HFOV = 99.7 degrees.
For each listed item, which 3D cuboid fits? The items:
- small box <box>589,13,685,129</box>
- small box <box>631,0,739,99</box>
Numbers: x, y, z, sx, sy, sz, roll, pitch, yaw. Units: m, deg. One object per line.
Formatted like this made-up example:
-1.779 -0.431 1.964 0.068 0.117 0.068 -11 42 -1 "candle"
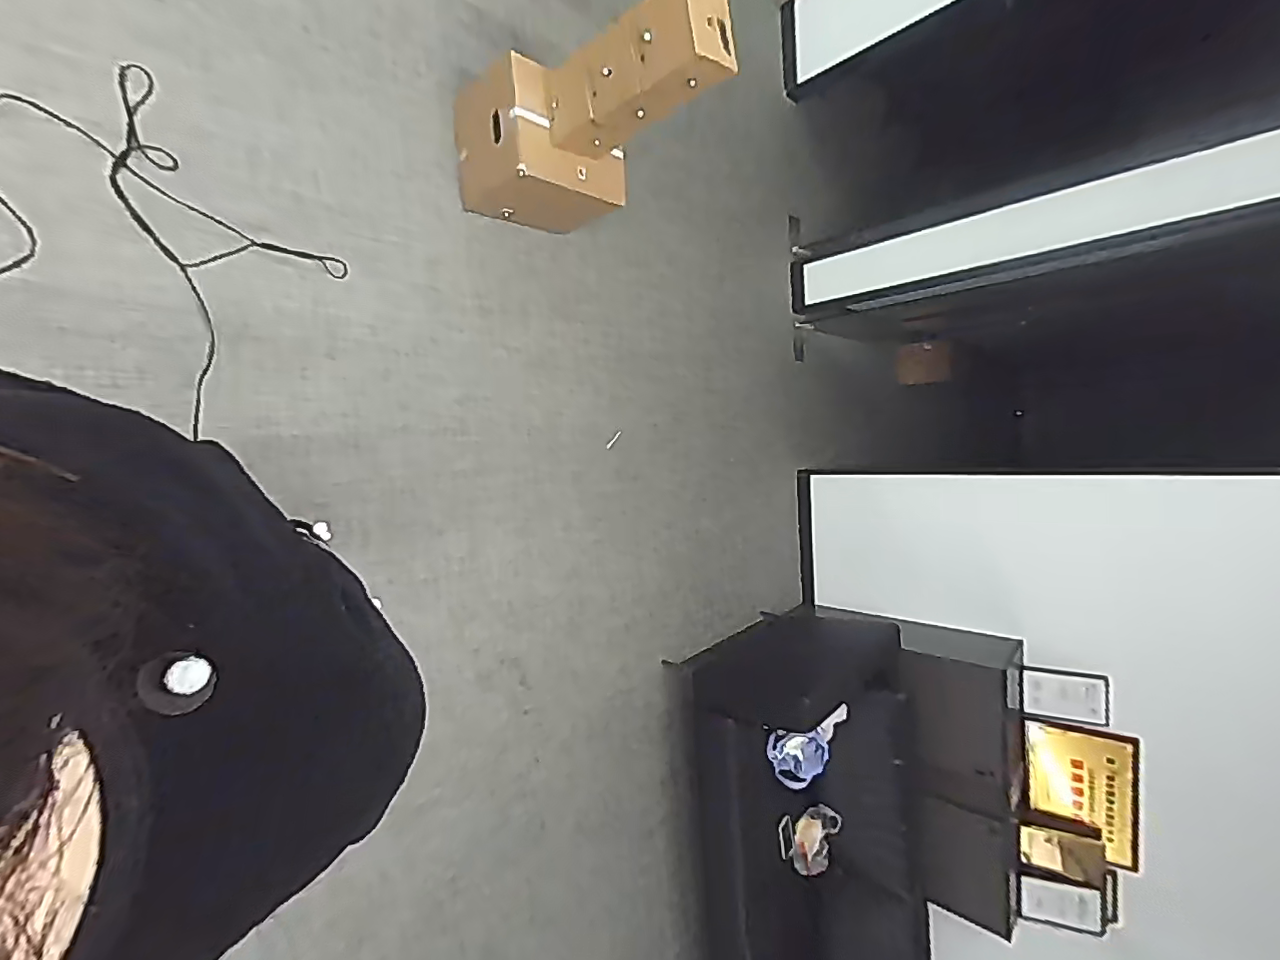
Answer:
-0.013 -1.035 1.388 0.179 0.176 0.168 -21 105 -43 "small box"
0.106 -1.037 1.274 0.179 0.176 0.168 -22 105 -43 "small box"
